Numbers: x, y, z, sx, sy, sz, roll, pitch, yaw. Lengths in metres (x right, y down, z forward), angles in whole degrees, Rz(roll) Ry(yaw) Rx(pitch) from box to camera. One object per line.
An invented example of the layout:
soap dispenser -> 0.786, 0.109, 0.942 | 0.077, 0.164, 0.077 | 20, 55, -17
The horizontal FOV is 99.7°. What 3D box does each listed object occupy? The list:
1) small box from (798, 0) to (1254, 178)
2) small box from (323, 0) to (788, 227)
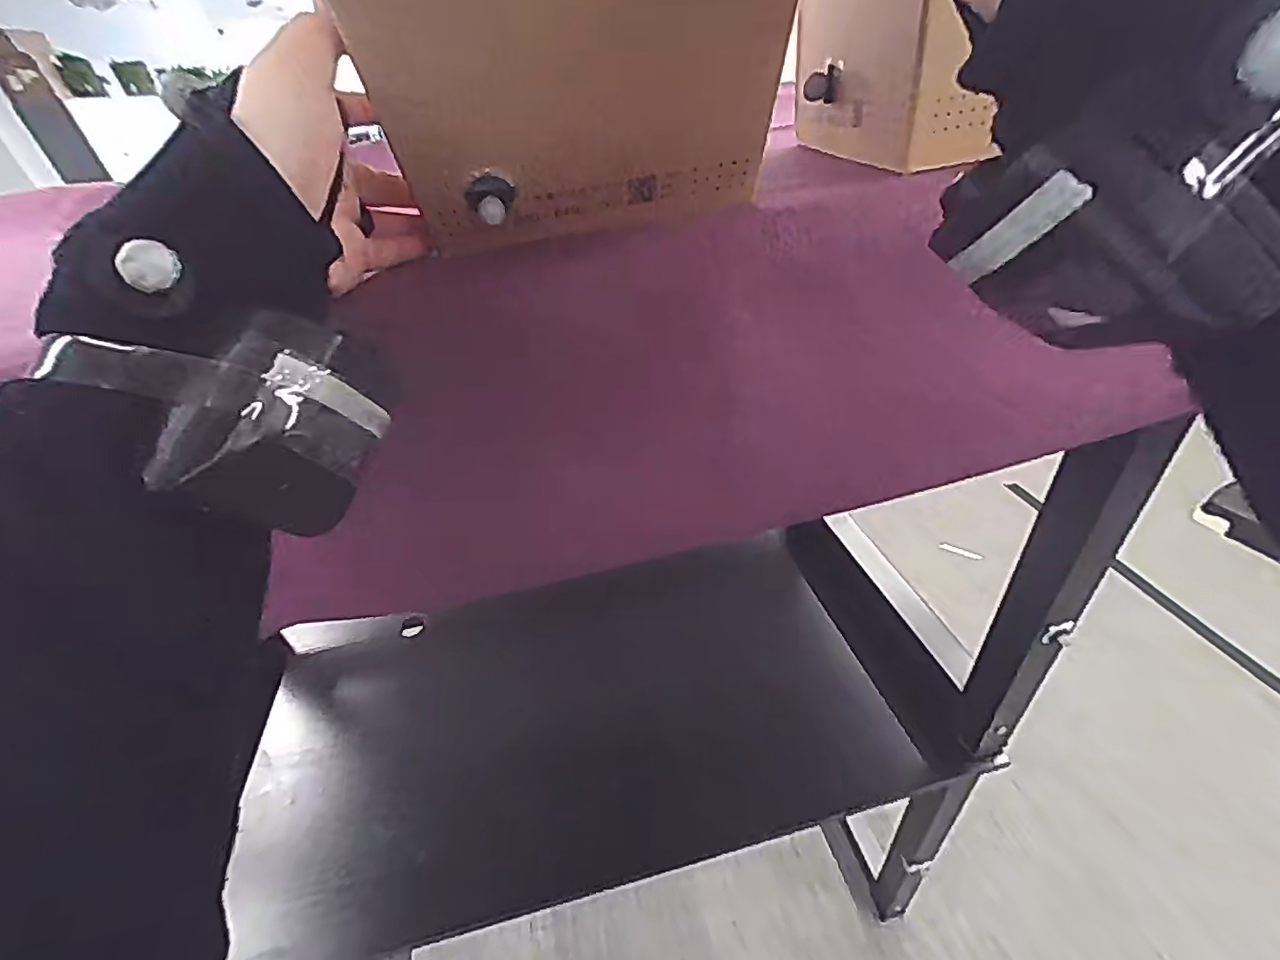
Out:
small box -> 0.199, -0.283, 0.297 | 0.179, 0.176, 0.168 | -10, 36, -1
small box -> -0.039, -0.232, 0.224 | 0.168, 0.176, 0.179 | -13, 69, -5
